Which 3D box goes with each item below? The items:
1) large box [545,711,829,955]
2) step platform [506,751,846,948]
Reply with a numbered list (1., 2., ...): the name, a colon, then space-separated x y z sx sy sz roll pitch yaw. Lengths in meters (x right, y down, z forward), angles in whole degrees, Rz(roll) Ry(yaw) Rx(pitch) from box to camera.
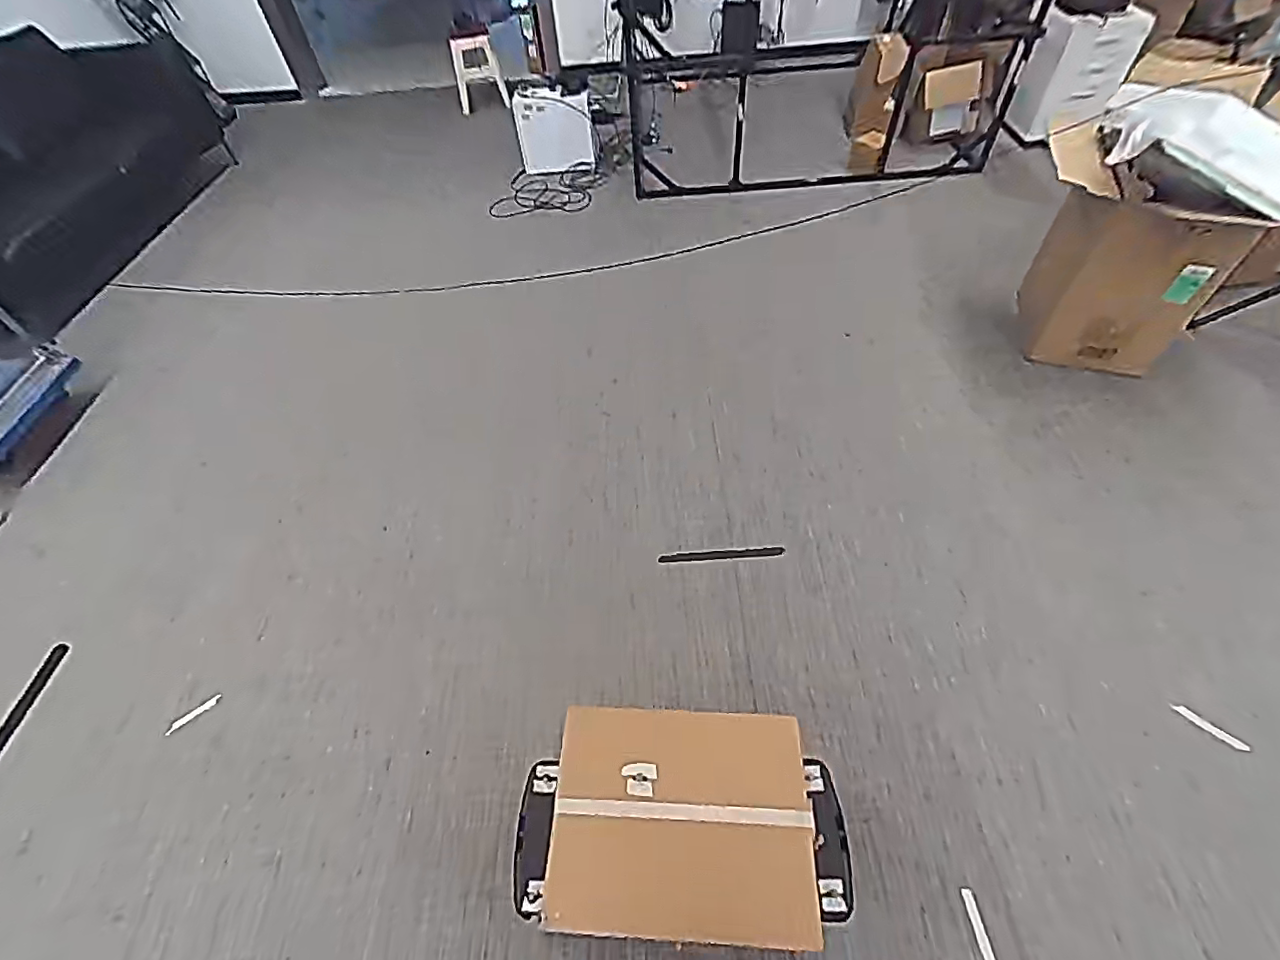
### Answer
1. large box: 0.082 0.615 0.958 0.408 0.320 0.320 0 51 6
2. step platform: 0.073 0.767 1.144 0.684 0.204 0.286 1 52 7
